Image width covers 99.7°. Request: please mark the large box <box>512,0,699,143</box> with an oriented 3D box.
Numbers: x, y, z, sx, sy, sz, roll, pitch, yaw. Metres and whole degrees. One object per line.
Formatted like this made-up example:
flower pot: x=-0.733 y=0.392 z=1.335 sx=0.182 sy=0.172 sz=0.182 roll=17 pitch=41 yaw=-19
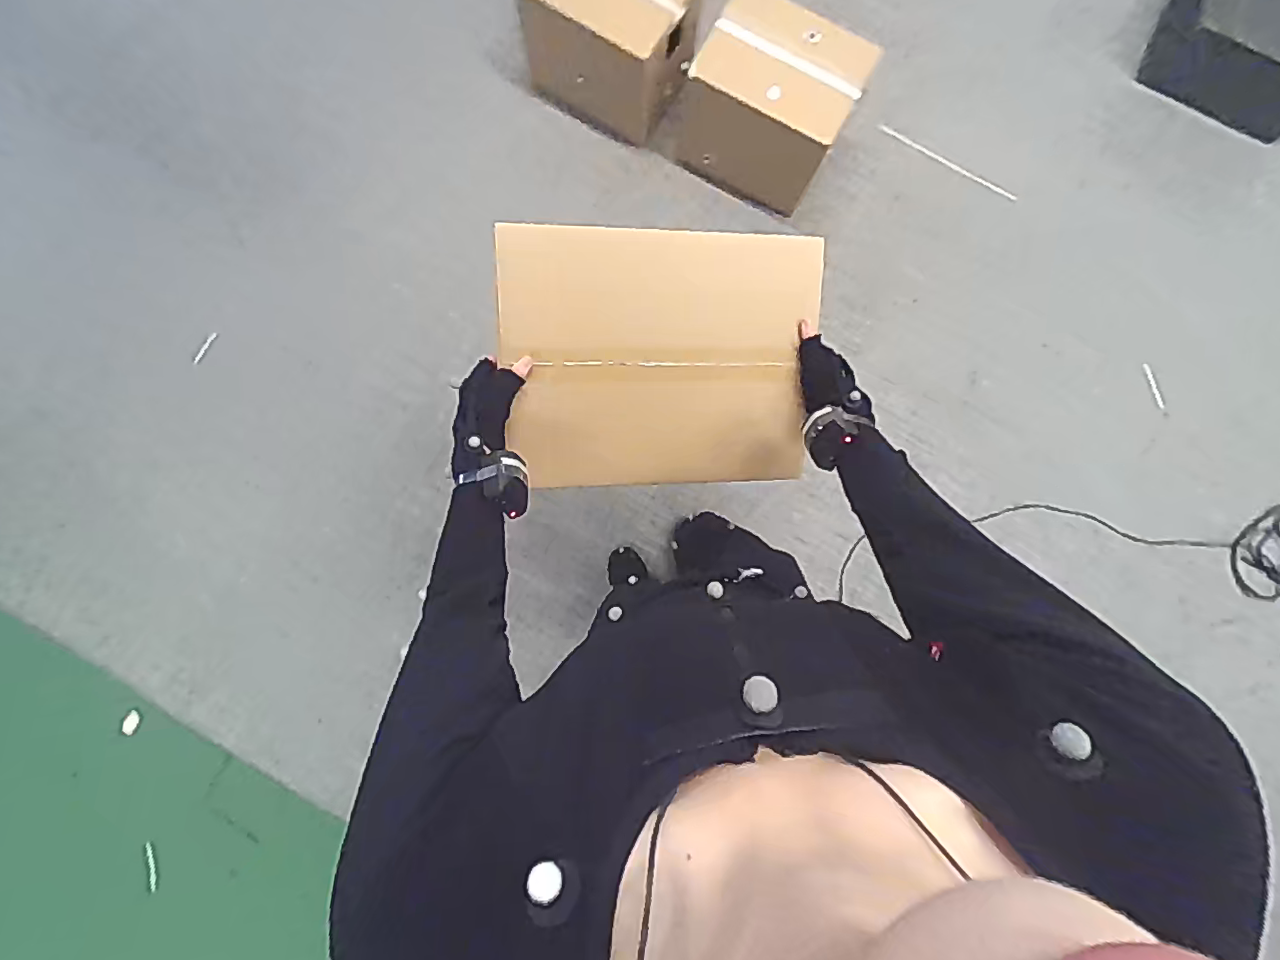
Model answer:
large box: x=-0.084 y=-1.251 z=1.507 sx=0.408 sy=0.320 sz=0.320 roll=31 pitch=84 yaw=3
